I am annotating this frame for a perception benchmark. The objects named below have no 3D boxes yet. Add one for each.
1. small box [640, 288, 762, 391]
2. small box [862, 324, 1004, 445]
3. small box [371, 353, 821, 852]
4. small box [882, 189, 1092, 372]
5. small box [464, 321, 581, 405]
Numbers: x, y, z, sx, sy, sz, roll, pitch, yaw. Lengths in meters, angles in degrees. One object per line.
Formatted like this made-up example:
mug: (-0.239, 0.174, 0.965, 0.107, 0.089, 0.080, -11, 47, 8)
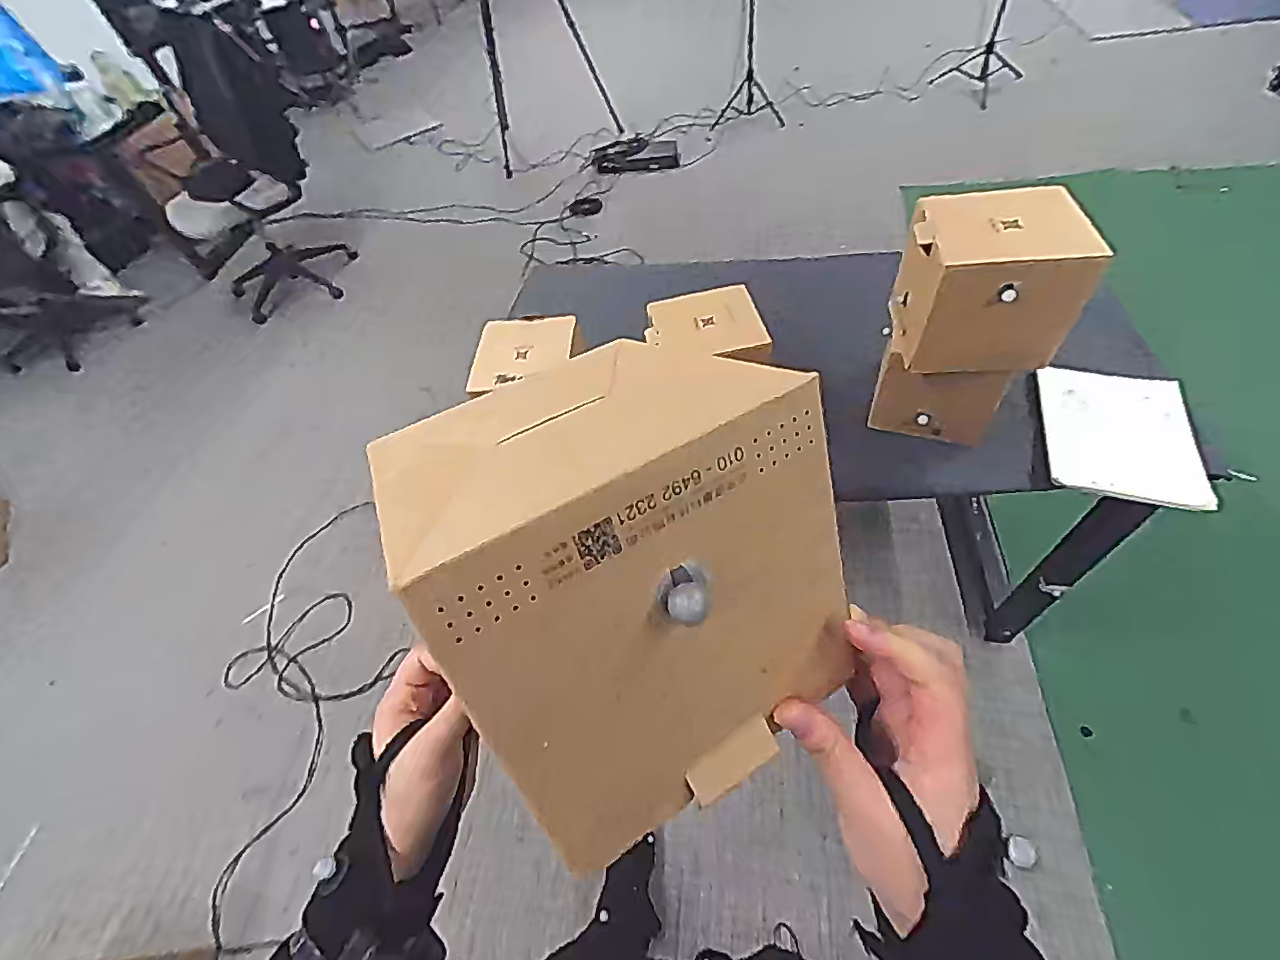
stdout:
small box: (0.108, -0.208, 0.960, 0.179, 0.176, 0.168, -12, 53, 0)
small box: (0.470, -0.186, 0.877, 0.168, 0.176, 0.179, 14, 57, 20)
small box: (-0.028, 0.038, 0.300, 0.168, 0.176, 0.179, -28, 28, -18)
small box: (0.447, -0.263, 0.733, 0.179, 0.176, 0.168, -1, 53, 11)
small box: (-0.192, -0.161, 0.974, 0.168, 0.176, 0.179, -3, 53, 7)
